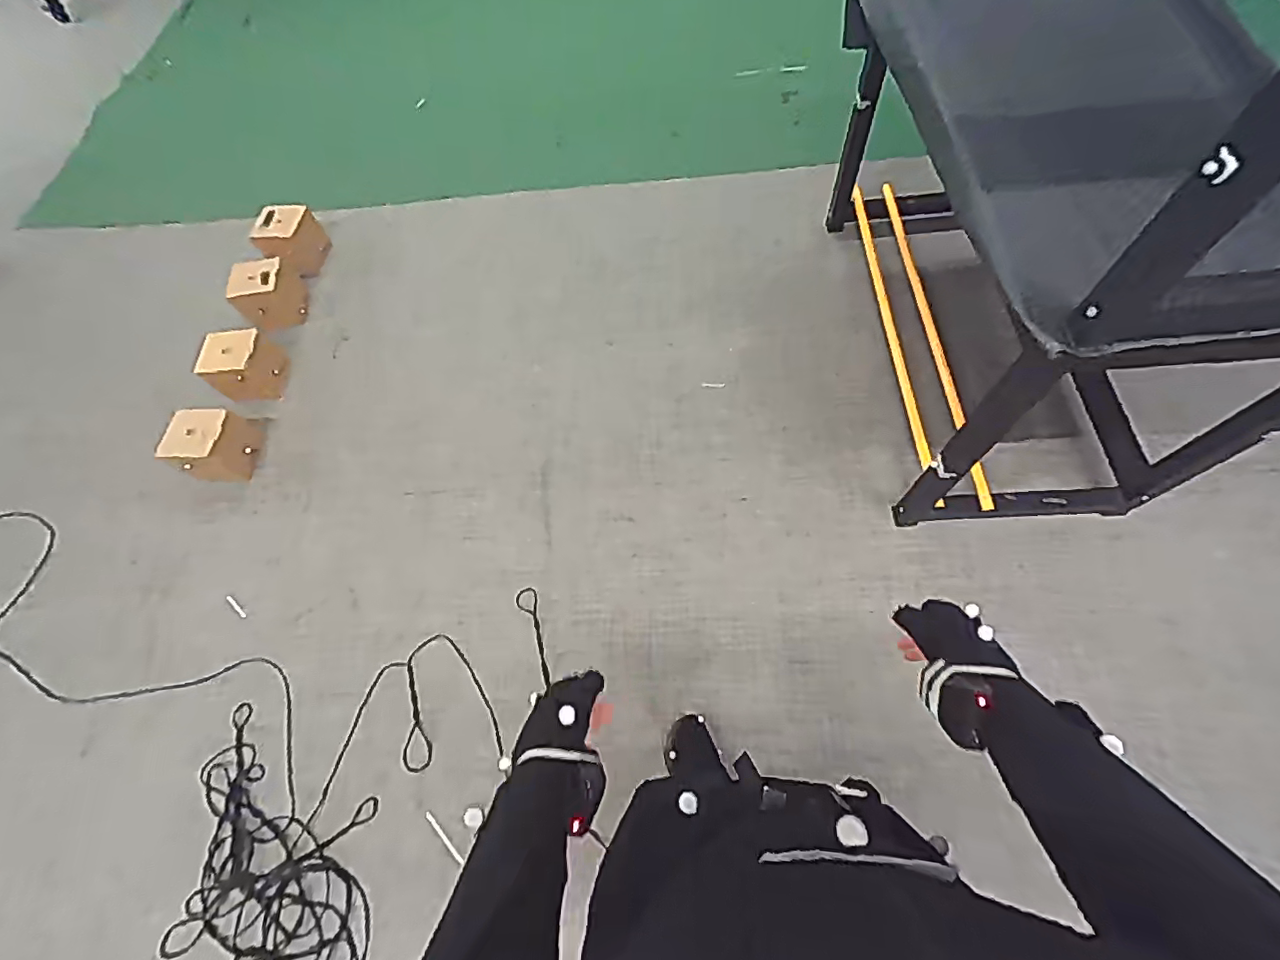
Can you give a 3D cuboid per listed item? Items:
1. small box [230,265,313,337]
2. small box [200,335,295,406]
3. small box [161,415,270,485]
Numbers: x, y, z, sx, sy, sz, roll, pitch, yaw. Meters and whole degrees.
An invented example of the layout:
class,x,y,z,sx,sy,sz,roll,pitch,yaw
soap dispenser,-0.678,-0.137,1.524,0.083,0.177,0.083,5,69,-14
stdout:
class,x,y,z,sx,sy,sz,roll,pitch,yaw
small box,-1.334,-0.649,1.971,0.179,0.176,0.168,-10,63,2
small box,-1.321,-0.364,1.830,0.179,0.176,0.168,-5,64,3
small box,-1.320,-0.091,1.694,0.179,0.176,0.168,1,65,6
